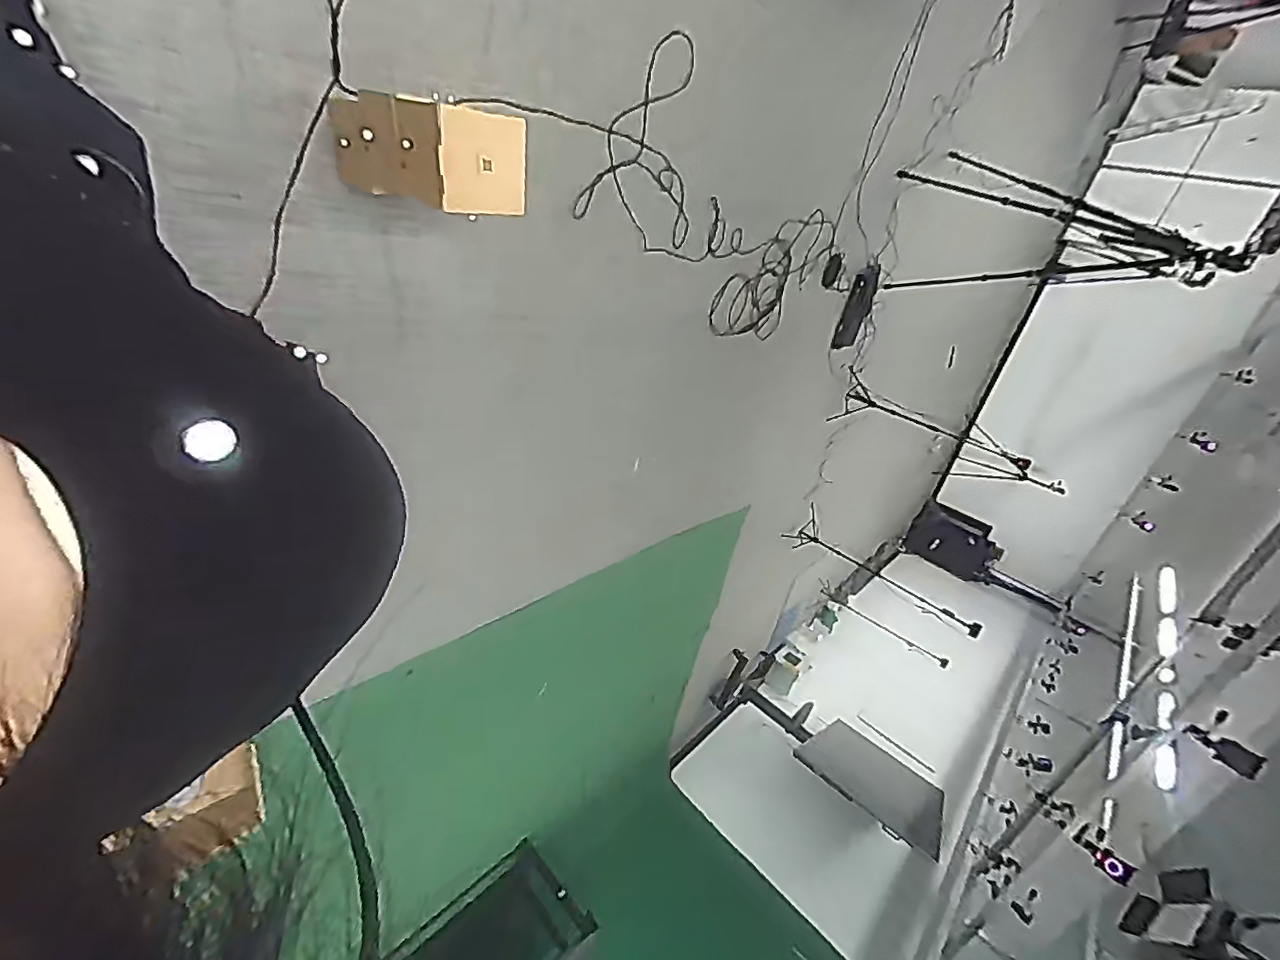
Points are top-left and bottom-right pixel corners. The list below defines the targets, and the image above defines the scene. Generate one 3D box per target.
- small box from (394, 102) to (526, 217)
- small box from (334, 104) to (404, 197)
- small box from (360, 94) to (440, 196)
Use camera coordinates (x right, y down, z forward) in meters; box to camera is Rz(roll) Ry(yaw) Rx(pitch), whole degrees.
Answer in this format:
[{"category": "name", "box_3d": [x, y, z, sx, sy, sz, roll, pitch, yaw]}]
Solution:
[{"category": "small box", "box_3d": [-0.337, -0.604, 1.023, 0.179, 0.176, 0.168, -22, 132, -40]}, {"category": "small box", "box_3d": [-0.562, -0.739, 1.216, 0.179, 0.176, 0.168, -26, 135, -39]}, {"category": "small box", "box_3d": [-0.447, -0.682, 1.114, 0.179, 0.176, 0.168, -21, 131, -41]}]
